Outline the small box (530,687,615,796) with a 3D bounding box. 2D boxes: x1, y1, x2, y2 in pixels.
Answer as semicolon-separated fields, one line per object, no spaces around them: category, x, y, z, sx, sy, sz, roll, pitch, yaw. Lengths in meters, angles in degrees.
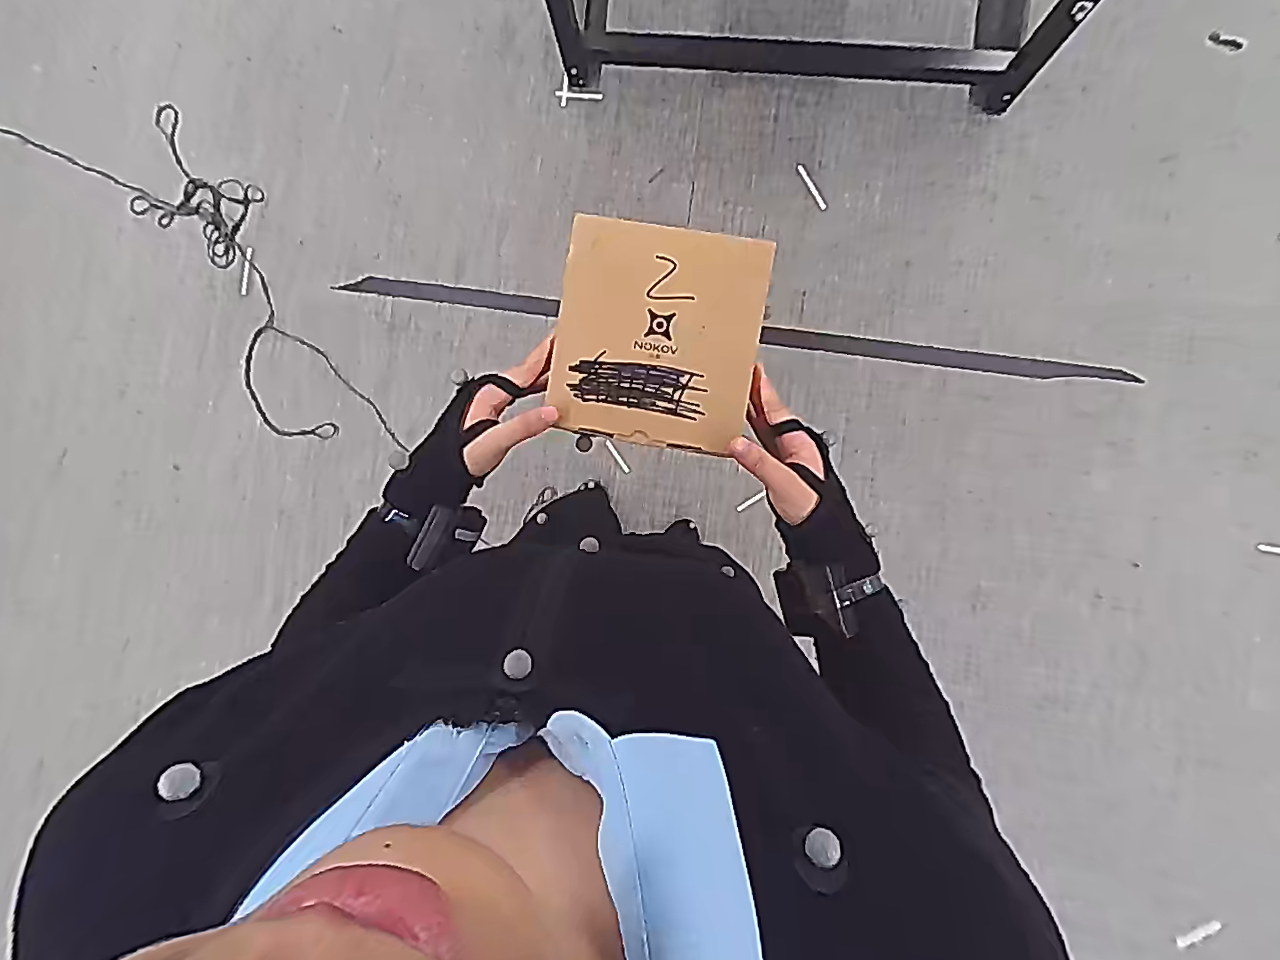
small box;-0.164;0.657;1.376;0.168;0.176;0.179;12;90;3
